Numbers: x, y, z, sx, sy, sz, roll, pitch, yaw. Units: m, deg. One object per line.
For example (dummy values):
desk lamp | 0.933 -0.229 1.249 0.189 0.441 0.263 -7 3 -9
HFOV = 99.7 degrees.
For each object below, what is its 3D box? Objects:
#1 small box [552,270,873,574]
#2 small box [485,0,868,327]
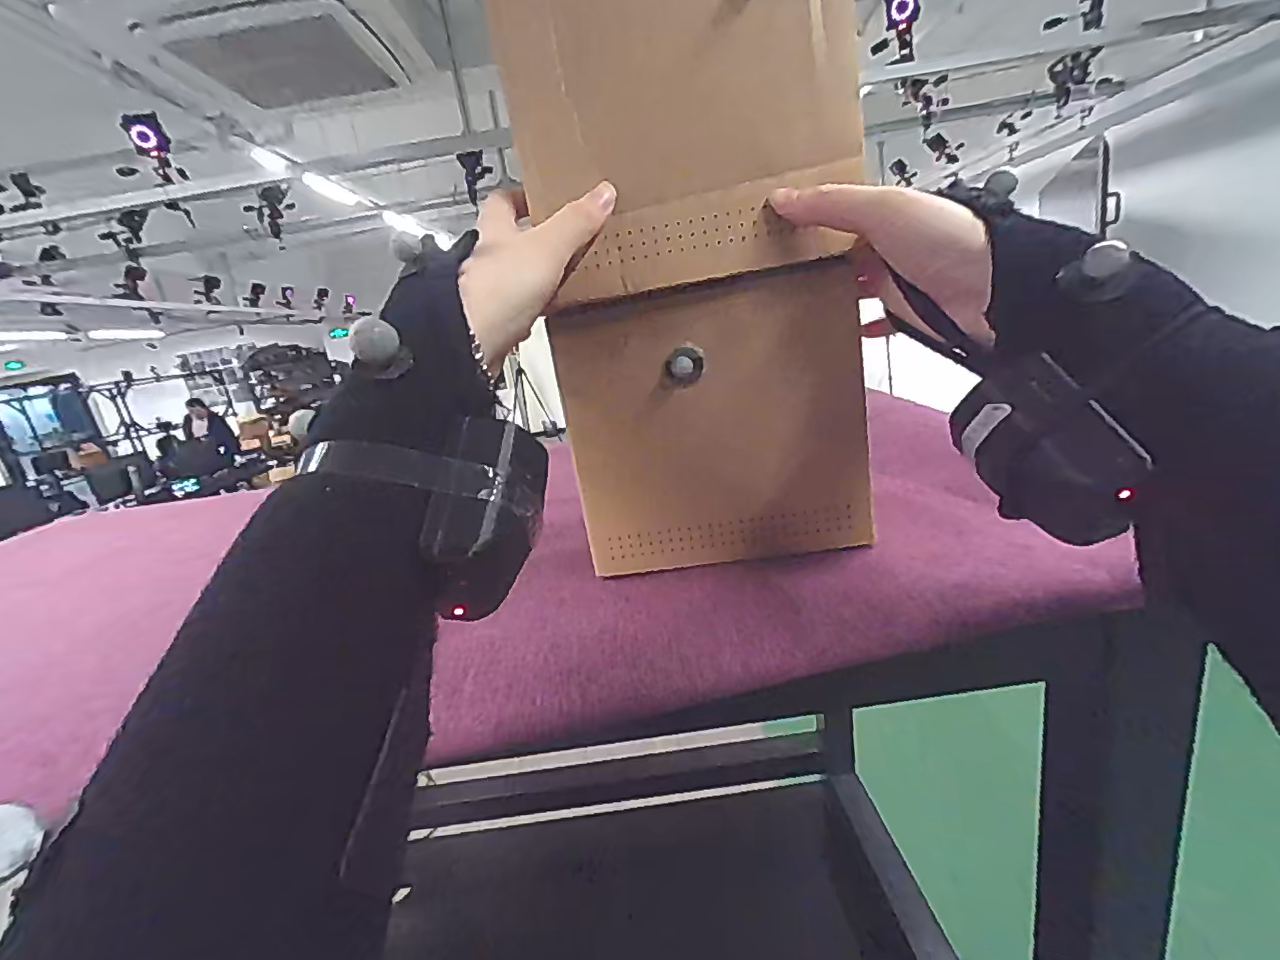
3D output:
small box | 0.054 -0.040 0.396 0.179 0.176 0.168 -8 14 7
small box | 0.025 -0.192 0.343 0.179 0.176 0.168 -9 14 3
